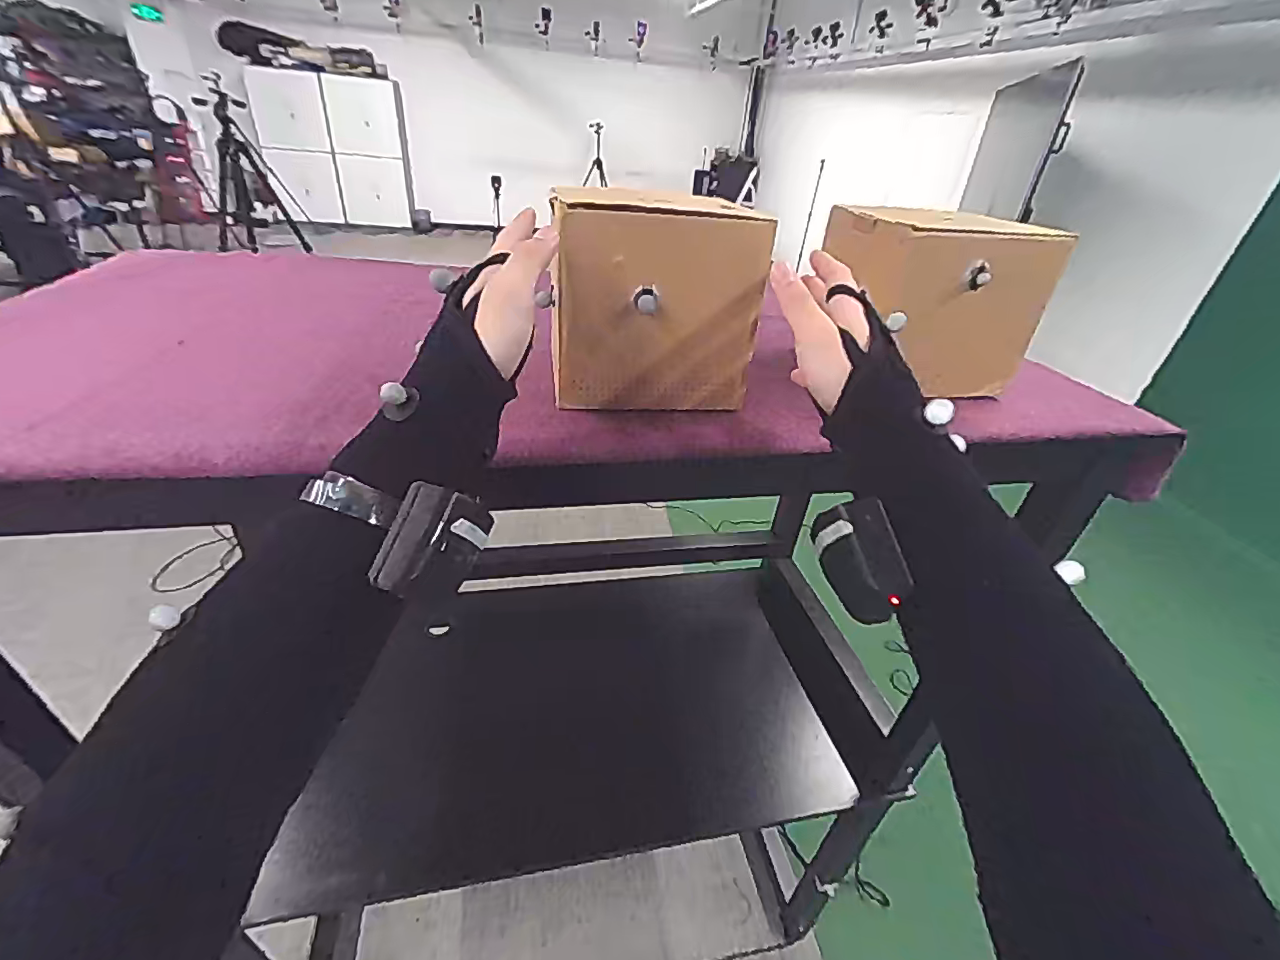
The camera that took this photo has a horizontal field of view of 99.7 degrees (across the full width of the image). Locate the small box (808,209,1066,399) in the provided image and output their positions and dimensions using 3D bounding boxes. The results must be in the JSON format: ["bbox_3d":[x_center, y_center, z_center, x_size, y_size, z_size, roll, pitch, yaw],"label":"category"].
[{"bbox_3d":[0.303,-0.198,0.603,0.179,0.176,0.168,-1,33,-8],"label":"small box"}]

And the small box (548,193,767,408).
[{"bbox_3d":[0.003,-0.177,0.528,0.179,0.176,0.168,-2,33,-10],"label":"small box"}]
